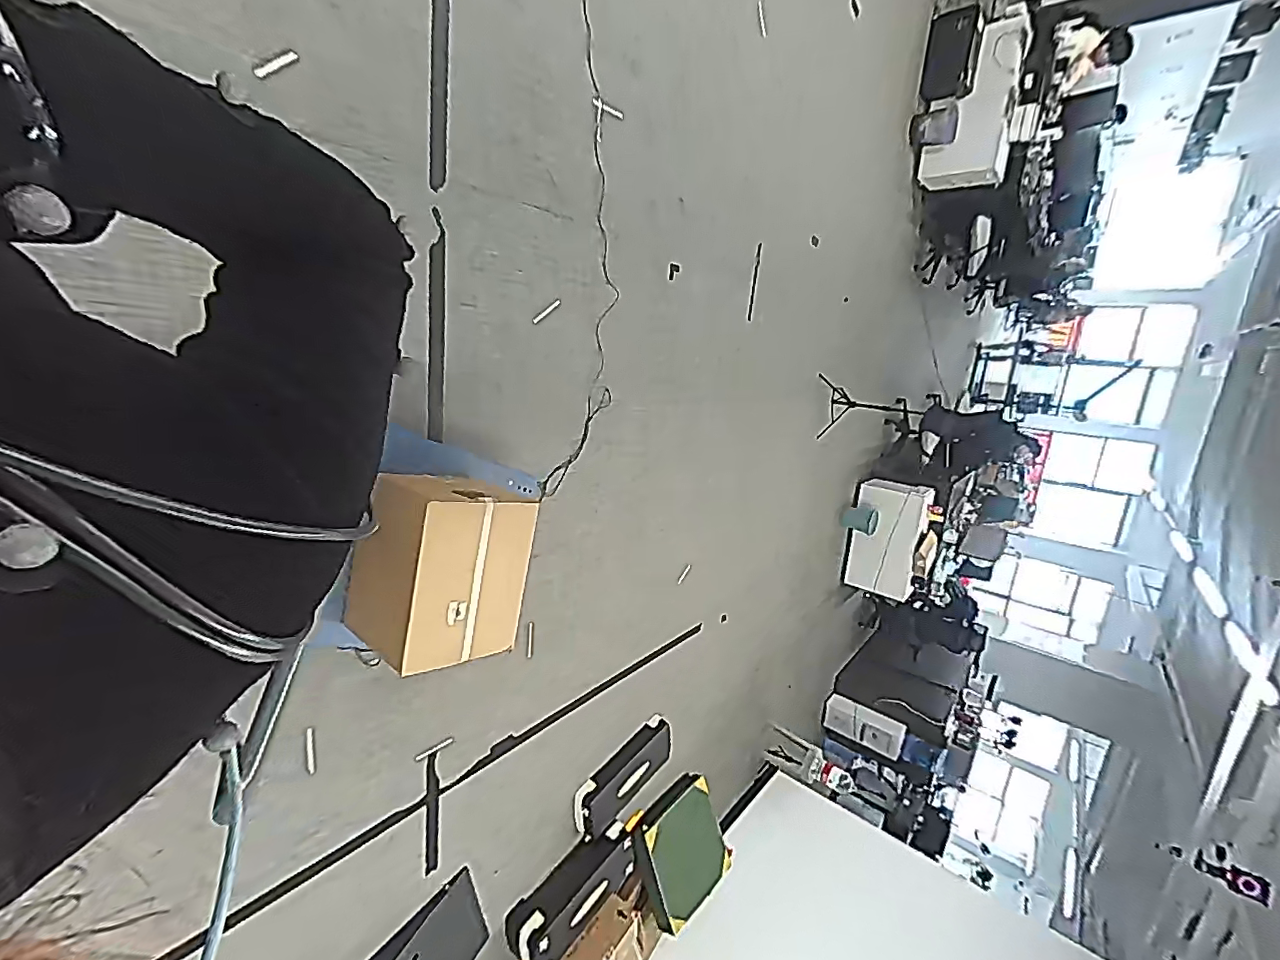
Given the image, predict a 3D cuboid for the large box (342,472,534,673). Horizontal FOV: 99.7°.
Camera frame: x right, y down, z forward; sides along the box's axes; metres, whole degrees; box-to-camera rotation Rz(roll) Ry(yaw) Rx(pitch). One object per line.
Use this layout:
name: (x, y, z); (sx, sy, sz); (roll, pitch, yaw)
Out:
large box: (-0.514, 0.206, 1.375); (0.320, 0.320, 0.408); (4, 99, -51)
